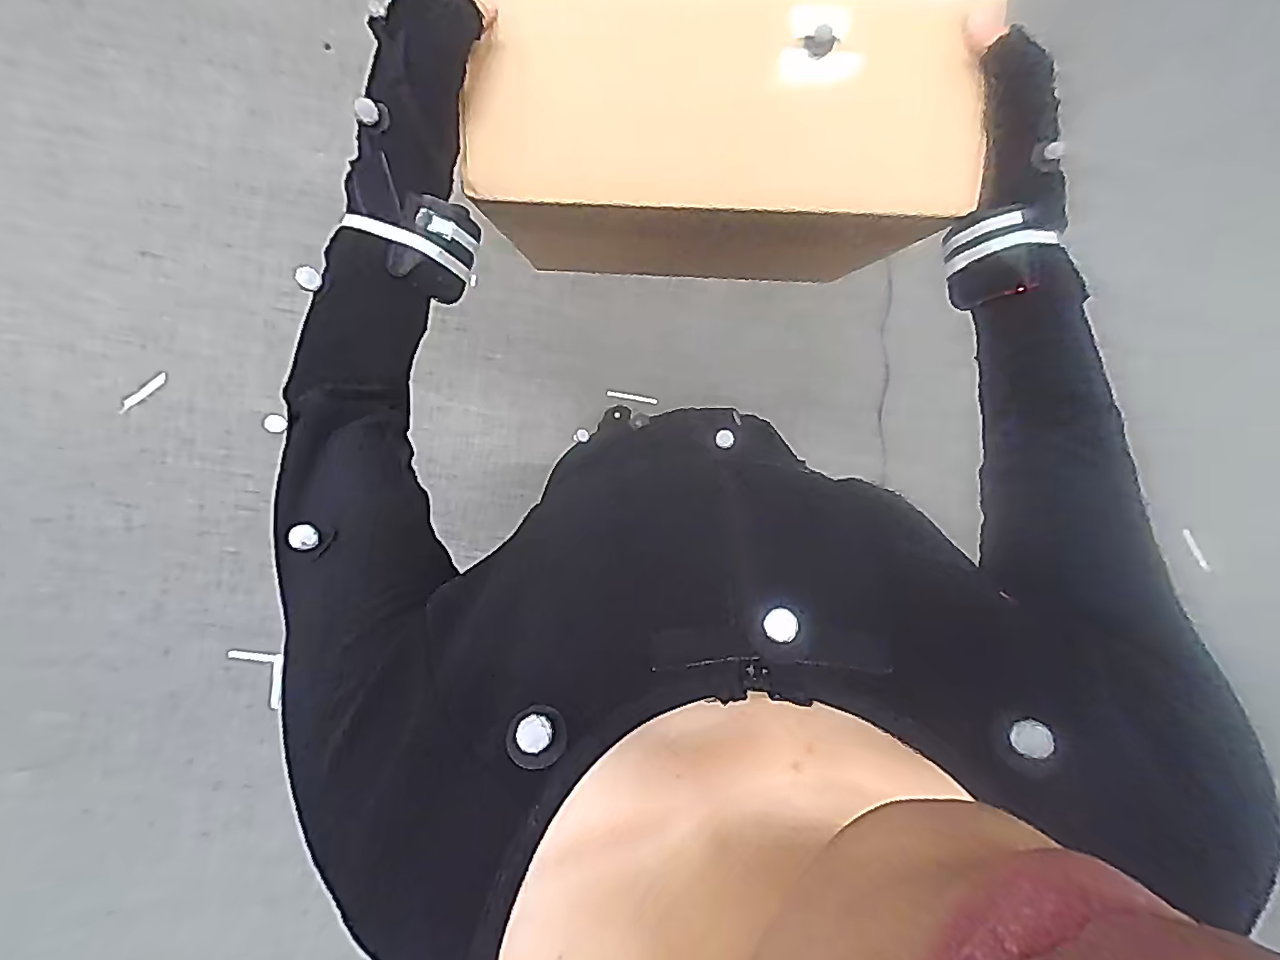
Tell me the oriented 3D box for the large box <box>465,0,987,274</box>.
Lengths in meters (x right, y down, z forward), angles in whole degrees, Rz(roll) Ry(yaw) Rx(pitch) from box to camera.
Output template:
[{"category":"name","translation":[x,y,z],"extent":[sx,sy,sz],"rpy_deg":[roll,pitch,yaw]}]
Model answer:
[{"category":"large box","translation":[0.062,-0.402,0.552],"extent":[0.408,0.320,0.320],"rpy_deg":[2,101,-1]}]
